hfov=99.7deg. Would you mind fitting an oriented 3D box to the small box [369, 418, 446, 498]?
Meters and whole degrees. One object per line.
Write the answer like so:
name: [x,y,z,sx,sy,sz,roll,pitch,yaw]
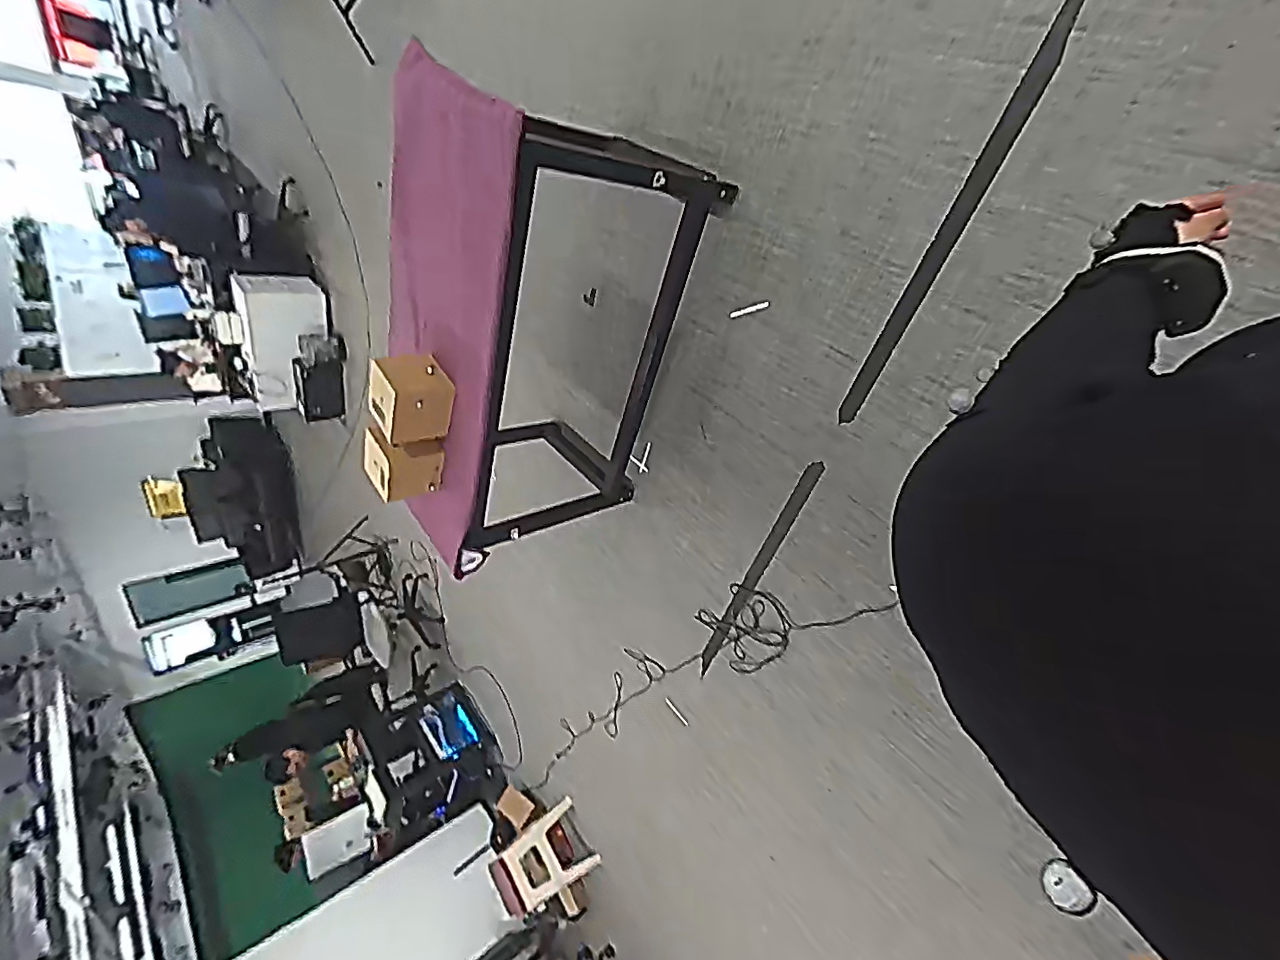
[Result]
small box: [-0.719,-0.076,1.672,0.179,0.176,0.168,47,132,27]
